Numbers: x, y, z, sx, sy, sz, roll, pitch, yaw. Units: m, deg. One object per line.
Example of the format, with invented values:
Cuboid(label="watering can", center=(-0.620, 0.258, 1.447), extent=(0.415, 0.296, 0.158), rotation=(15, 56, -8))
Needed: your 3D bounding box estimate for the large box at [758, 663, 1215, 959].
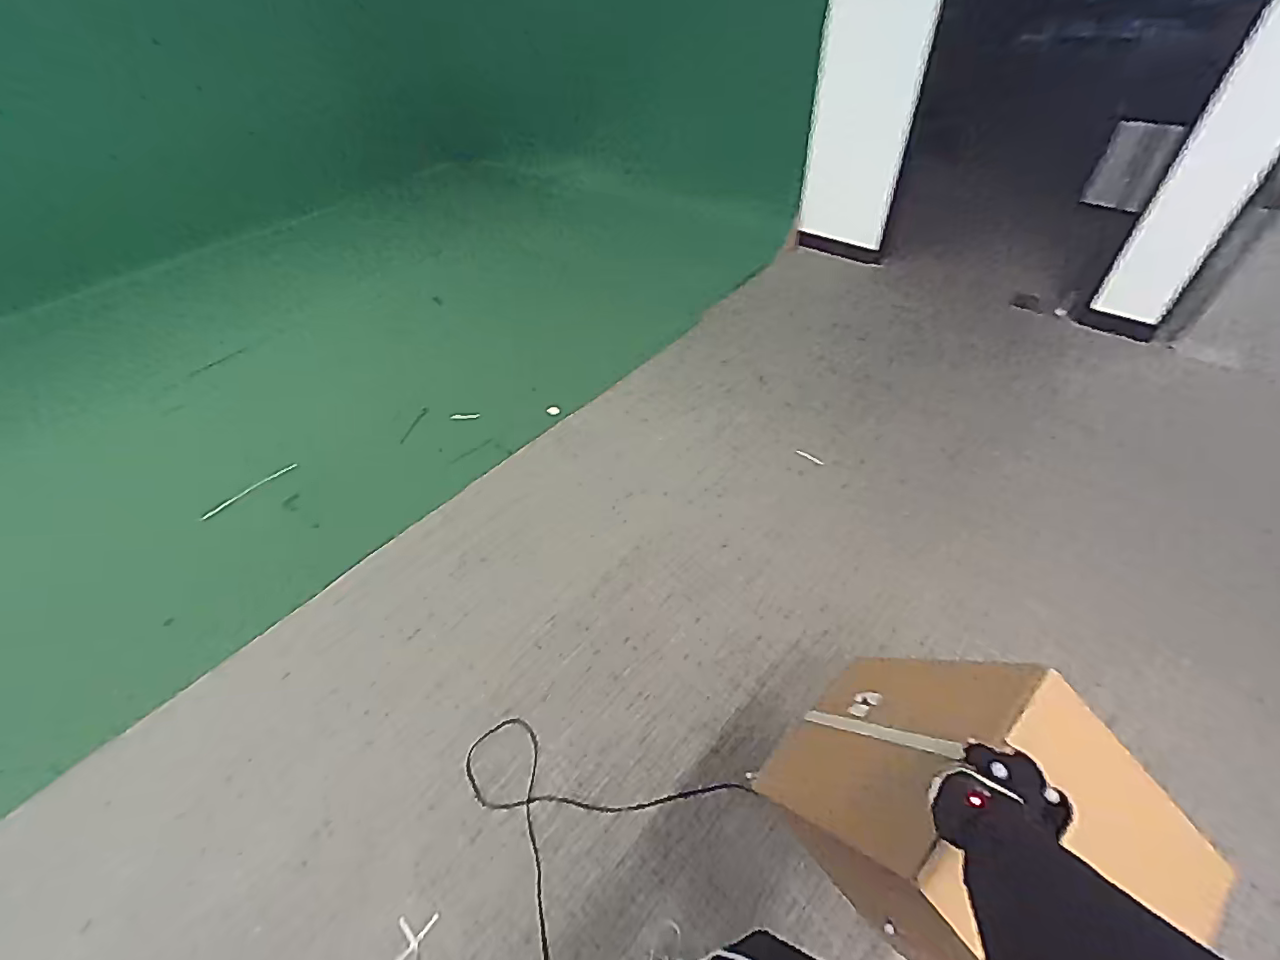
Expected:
Cuboid(label="large box", center=(0.452, 0.493, 0.789), extent=(0.320, 0.408, 0.320), rotation=(-39, 84, -21))
